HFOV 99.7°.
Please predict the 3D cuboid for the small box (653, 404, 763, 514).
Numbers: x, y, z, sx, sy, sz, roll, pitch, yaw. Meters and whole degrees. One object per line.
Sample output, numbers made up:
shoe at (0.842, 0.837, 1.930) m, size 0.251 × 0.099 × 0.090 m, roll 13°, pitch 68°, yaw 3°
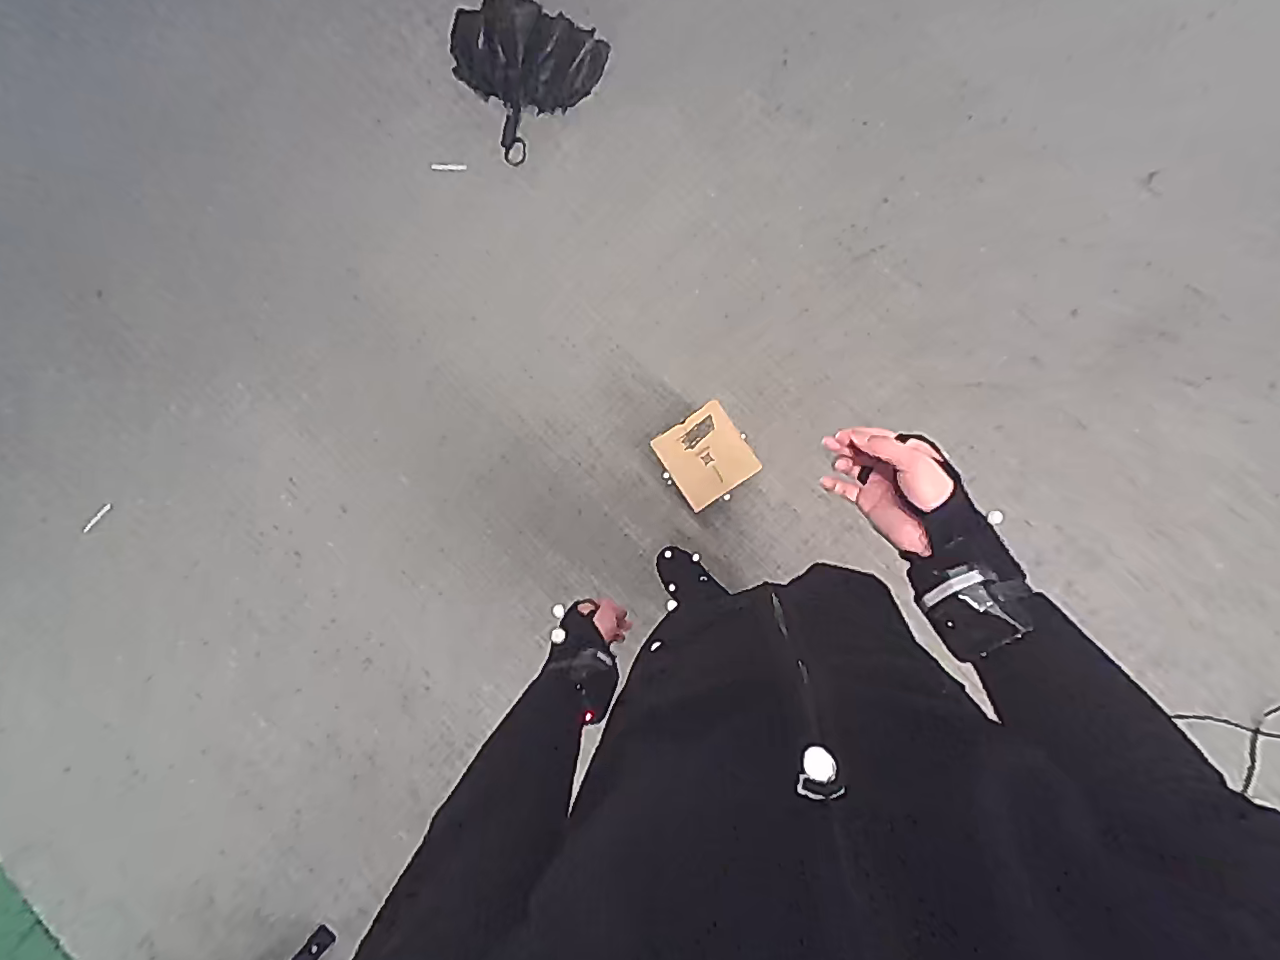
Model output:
small box at (0.143, -0.039, 1.185) m, size 0.168 × 0.176 × 0.179 m, roll -33°, pitch 86°, yaw 4°
